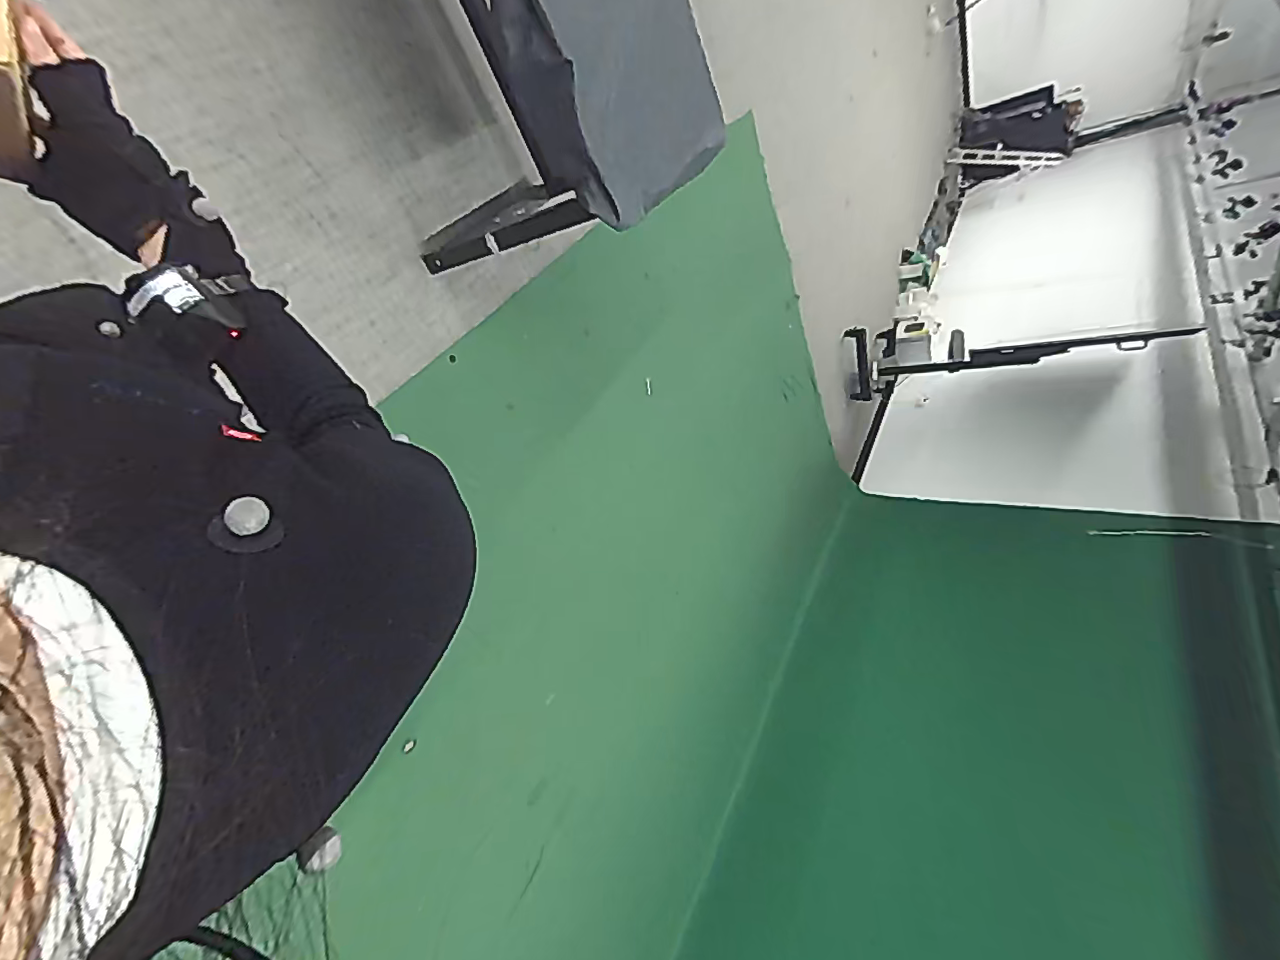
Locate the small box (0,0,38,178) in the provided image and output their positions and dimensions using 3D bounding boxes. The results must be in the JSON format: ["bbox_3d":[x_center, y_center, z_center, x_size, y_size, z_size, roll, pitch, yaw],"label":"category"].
[{"bbox_3d":[-0.471,-0.313,0.305,0.168,0.176,0.179,-5,94,-45],"label":"small box"}]
